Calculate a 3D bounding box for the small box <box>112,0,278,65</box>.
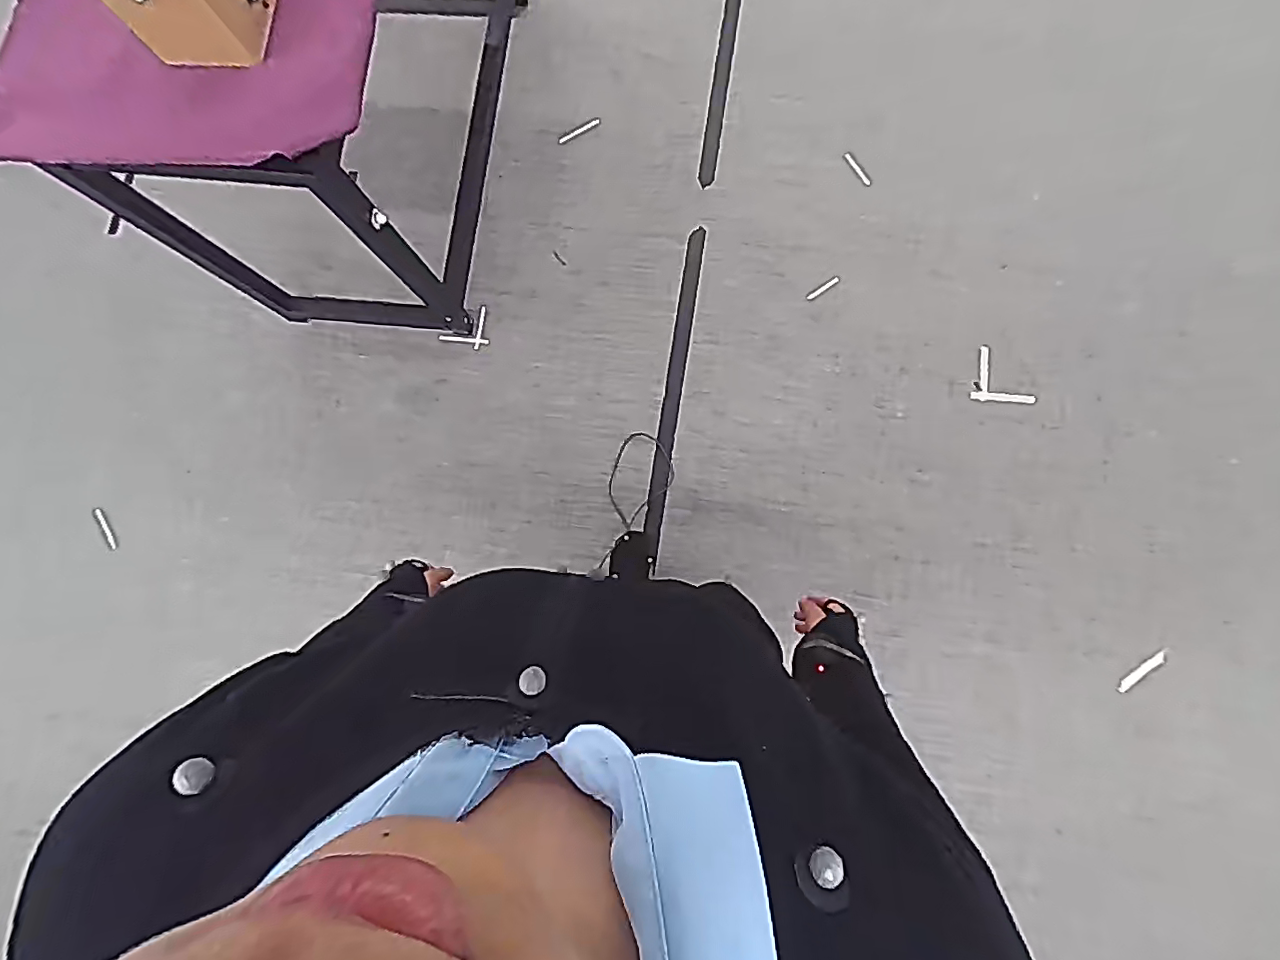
[{"bbox_3d":[-0.723,-0.798,0.851,0.179,0.176,0.168,5,82,3],"label":"small box"}]
